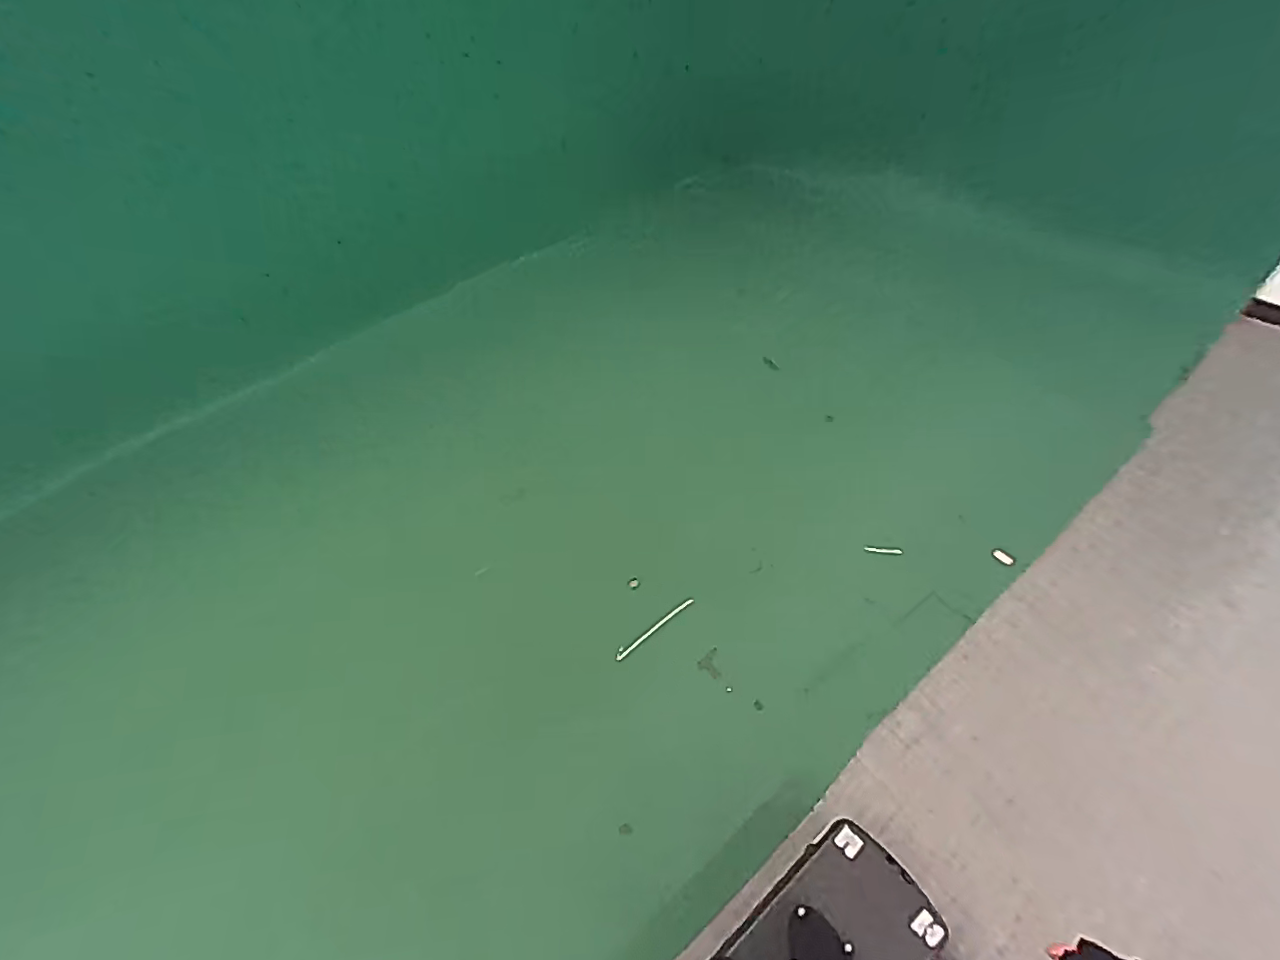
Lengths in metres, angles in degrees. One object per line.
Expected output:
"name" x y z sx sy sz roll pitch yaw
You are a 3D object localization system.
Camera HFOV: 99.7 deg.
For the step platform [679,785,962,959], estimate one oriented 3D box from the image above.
"step platform" 0.263 0.919 0.996 0.684 0.204 0.286 -36 56 -19
